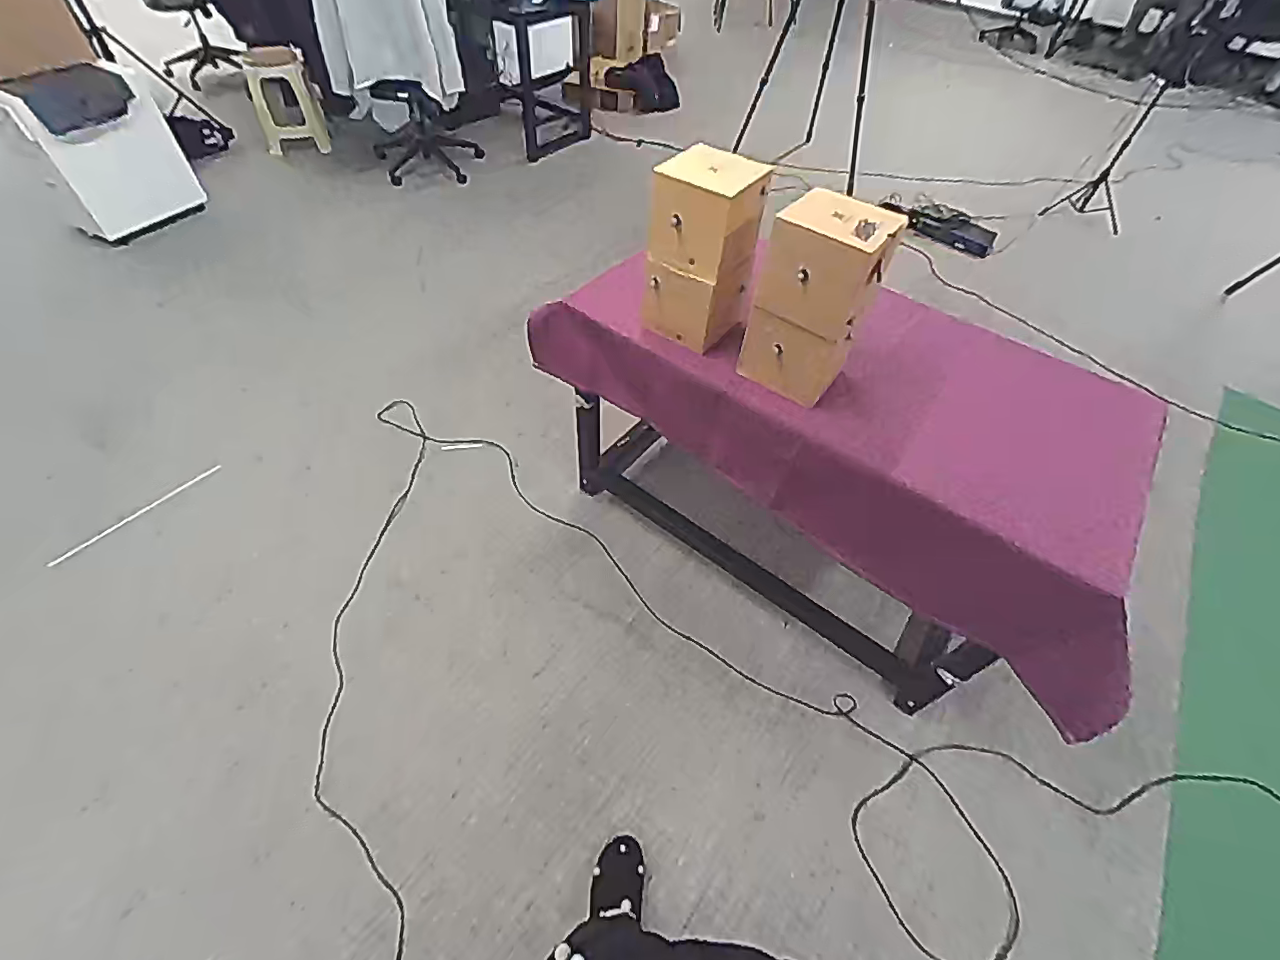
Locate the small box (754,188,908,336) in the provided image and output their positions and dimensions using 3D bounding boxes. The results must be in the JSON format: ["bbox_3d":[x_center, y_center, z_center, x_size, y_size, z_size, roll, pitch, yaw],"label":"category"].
[{"bbox_3d":[0.329,-0.380,0.957,0.179,0.176,0.168,33,56,22],"label":"small box"}]

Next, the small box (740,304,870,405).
[{"bbox_3d":[0.323,-0.280,1.087,0.179,0.176,0.168,31,56,20],"label":"small box"}]

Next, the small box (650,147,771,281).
[{"bbox_3d":[0.130,-0.516,1.056,0.168,0.176,0.179,29,54,18],"label":"small box"}]
